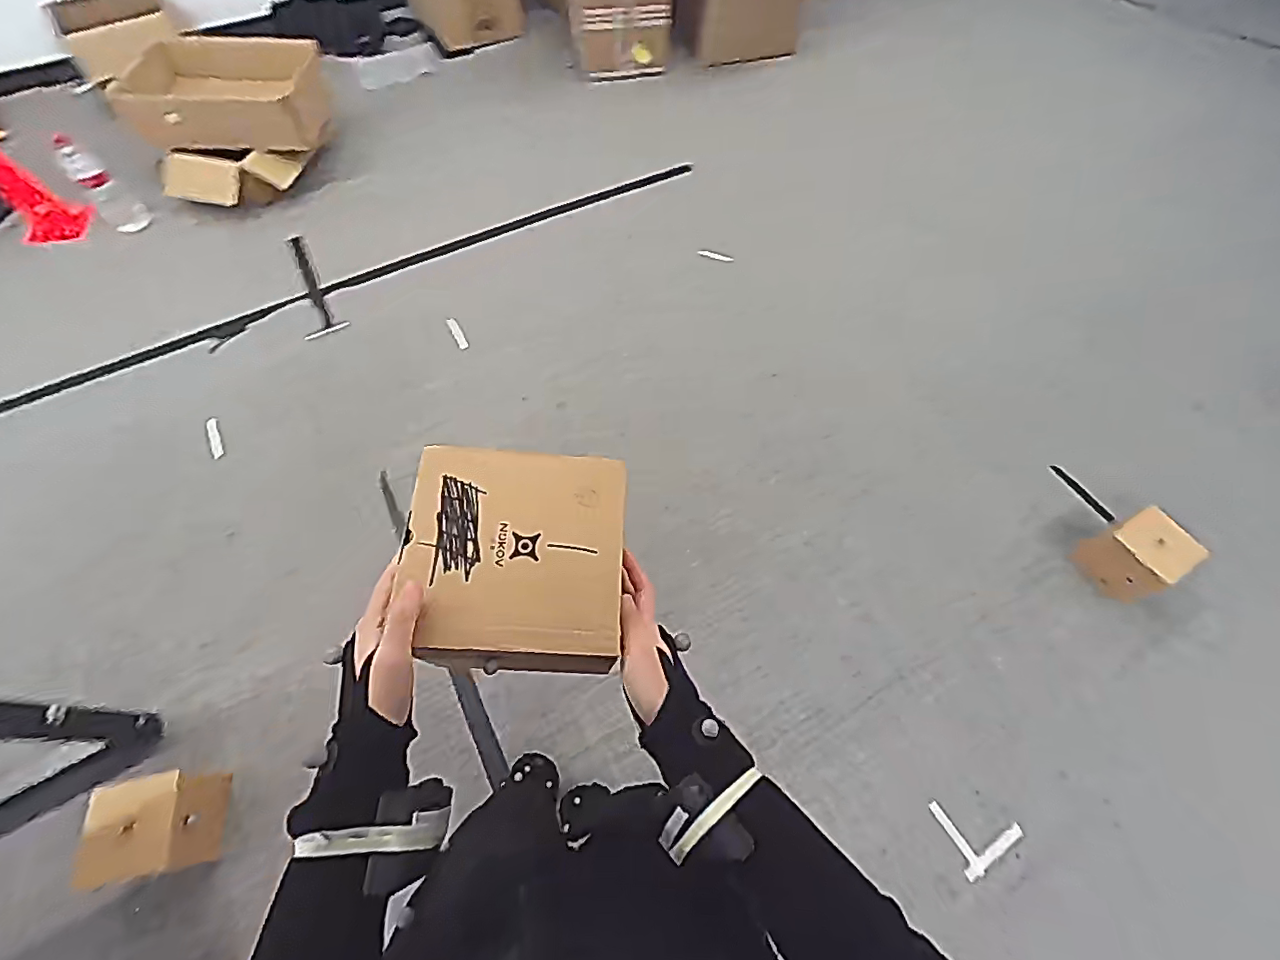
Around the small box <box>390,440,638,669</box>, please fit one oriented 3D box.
[{"bbox_3d":[-0.100,0.079,0.502,0.179,0.176,0.168,5,66,-5],"label":"small box"}]

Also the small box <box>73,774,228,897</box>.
[{"bbox_3d":[-1.001,0.727,1.126,0.168,0.176,0.179,-11,65,-8],"label":"small box"}]
